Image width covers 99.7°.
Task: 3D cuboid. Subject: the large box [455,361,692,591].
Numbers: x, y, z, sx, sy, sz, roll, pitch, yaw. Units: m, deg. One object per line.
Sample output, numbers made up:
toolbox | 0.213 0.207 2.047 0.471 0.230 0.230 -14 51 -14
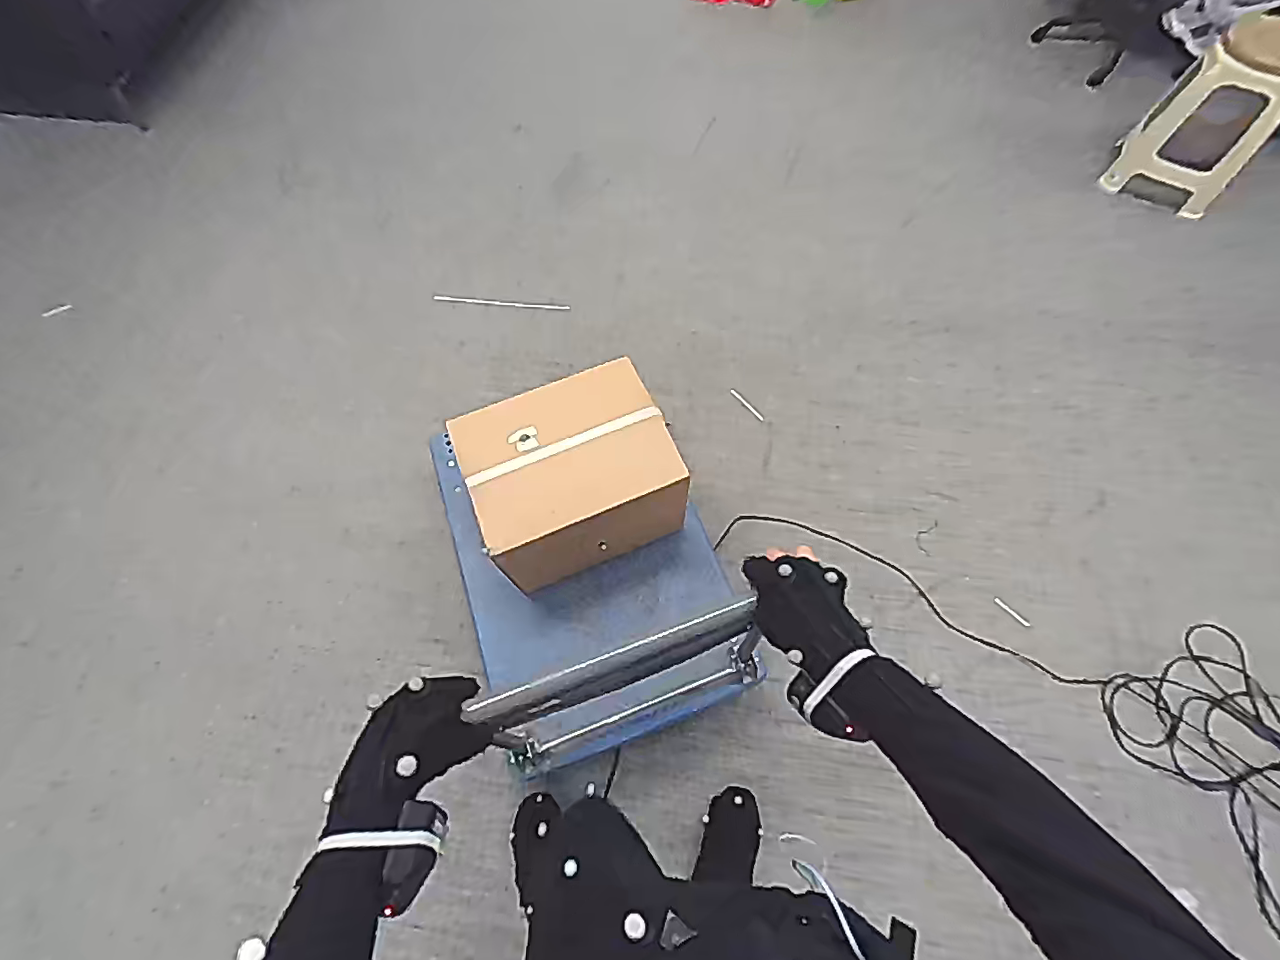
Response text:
large box | -0.133 0.004 1.209 0.408 0.320 0.320 -22 67 -8
